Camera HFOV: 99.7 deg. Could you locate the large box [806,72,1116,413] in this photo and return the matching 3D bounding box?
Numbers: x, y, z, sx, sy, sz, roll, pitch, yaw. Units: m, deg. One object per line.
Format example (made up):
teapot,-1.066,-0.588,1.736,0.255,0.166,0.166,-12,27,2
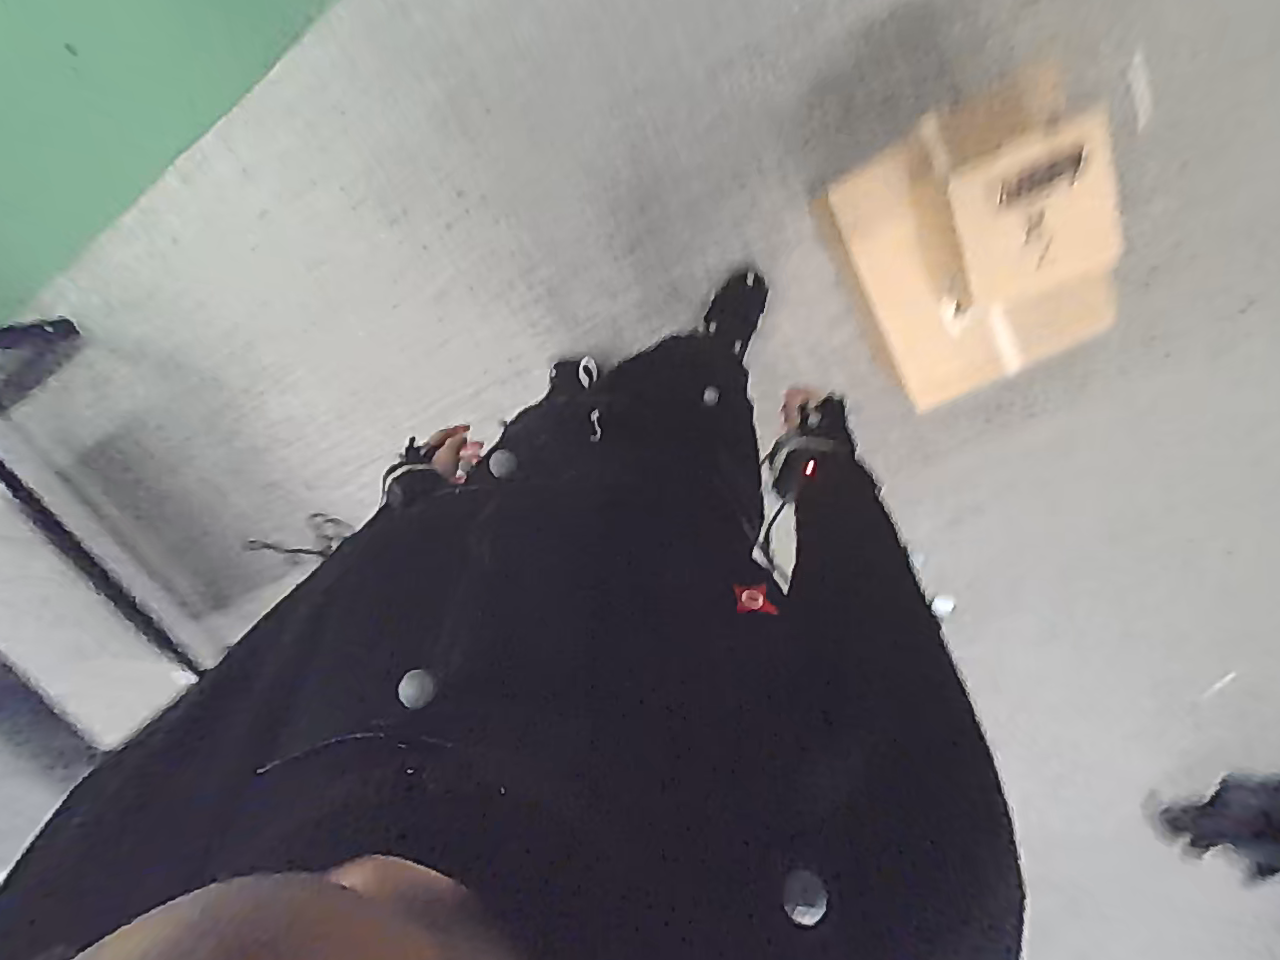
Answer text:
large box,0.539,-0.399,0.972,0.320,0.320,0.408,-25,109,21
